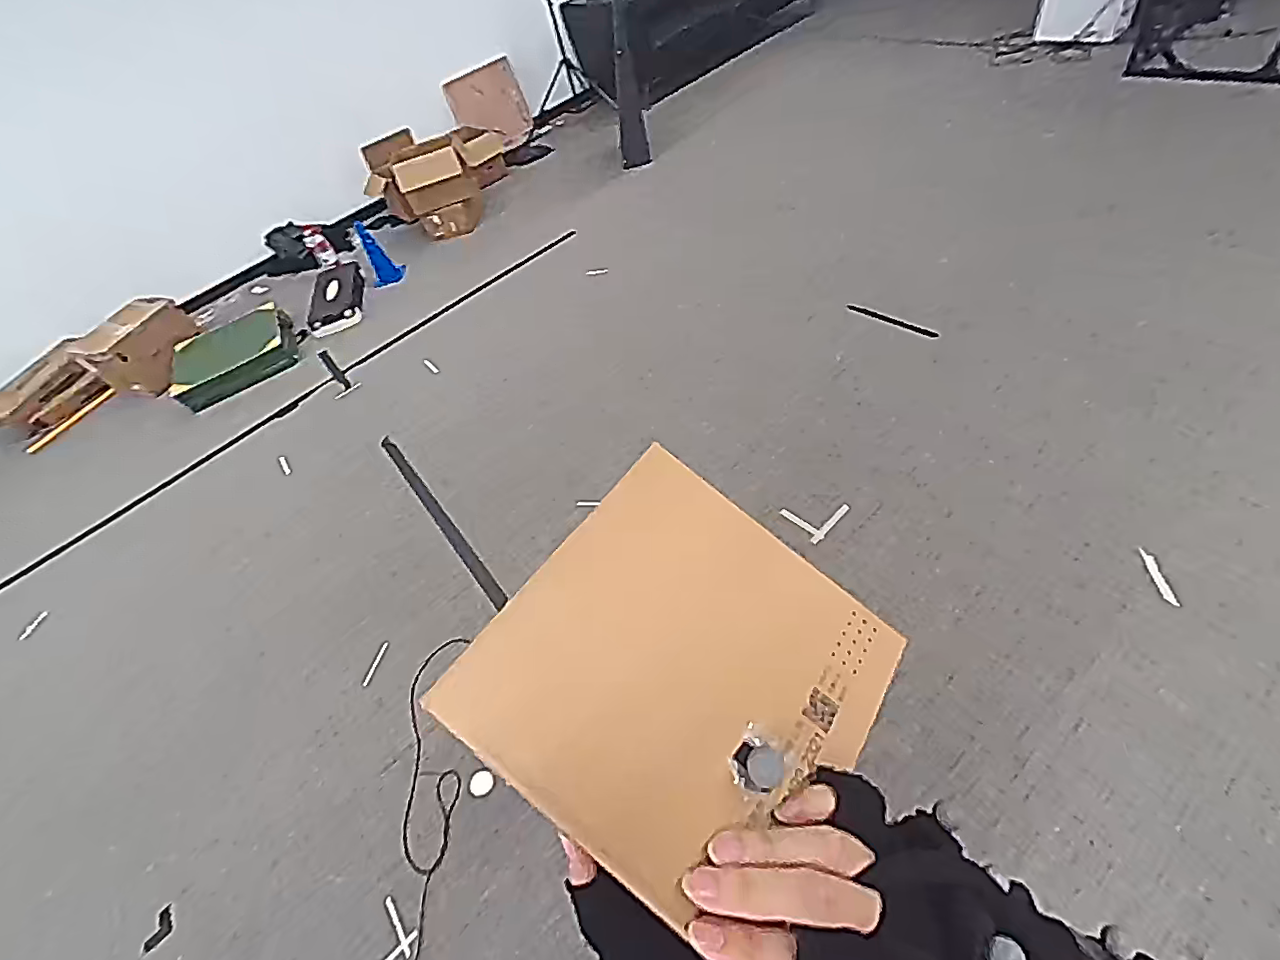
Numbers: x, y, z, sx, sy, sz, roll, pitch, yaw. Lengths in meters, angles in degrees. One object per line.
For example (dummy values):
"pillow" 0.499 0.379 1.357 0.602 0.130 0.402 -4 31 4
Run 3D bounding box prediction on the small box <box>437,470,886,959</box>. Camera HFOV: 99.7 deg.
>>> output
"small box" 0.006 0.133 0.330 0.176 0.179 0.168 38 61 5
